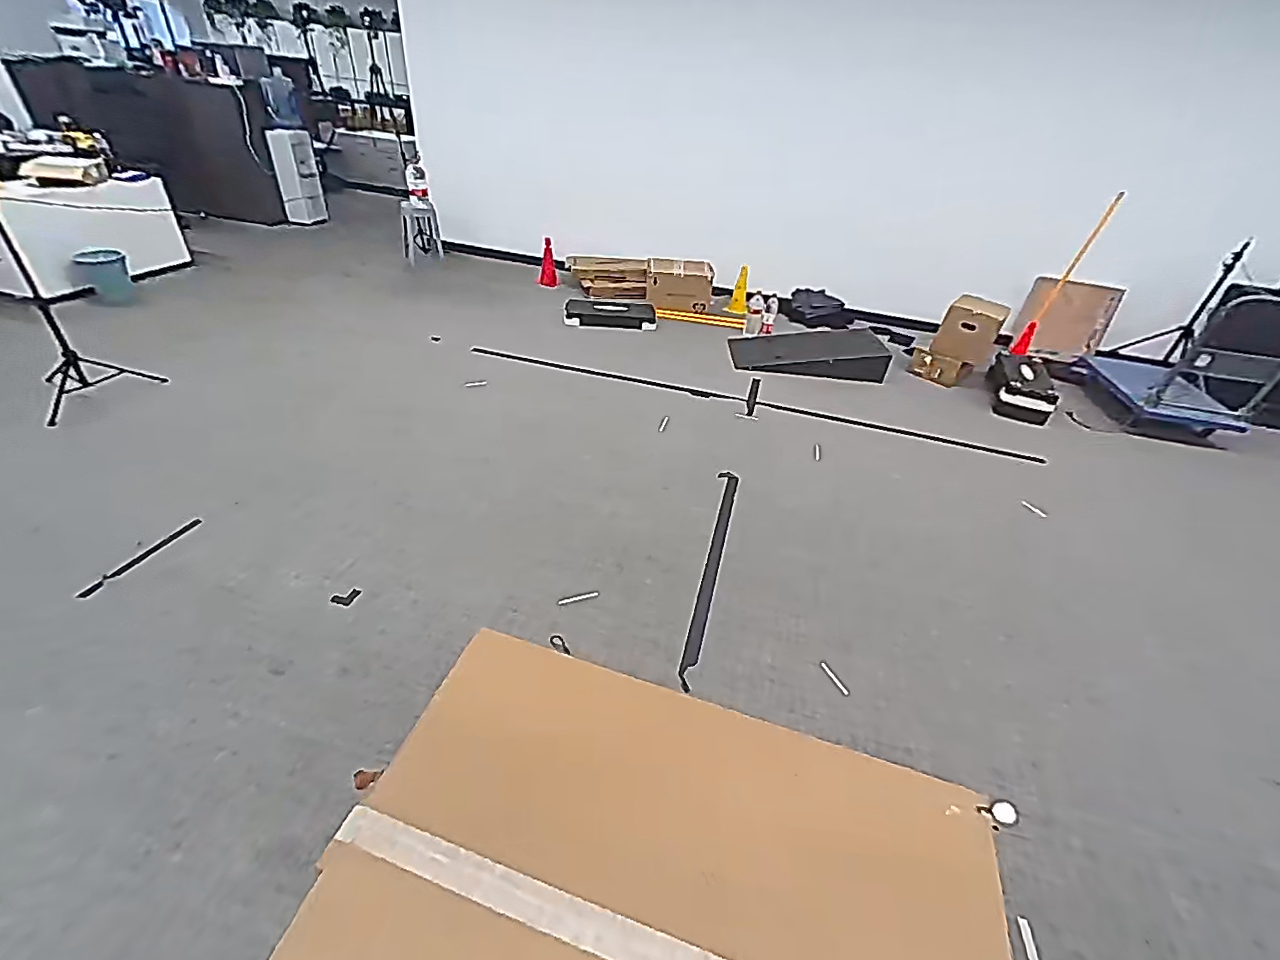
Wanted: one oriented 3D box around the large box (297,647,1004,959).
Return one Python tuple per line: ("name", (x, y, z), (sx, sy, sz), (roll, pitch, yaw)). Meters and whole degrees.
("large box", (0.001, 0.392, 0.417), (0.408, 0.320, 0.320), (15, 44, 11))
